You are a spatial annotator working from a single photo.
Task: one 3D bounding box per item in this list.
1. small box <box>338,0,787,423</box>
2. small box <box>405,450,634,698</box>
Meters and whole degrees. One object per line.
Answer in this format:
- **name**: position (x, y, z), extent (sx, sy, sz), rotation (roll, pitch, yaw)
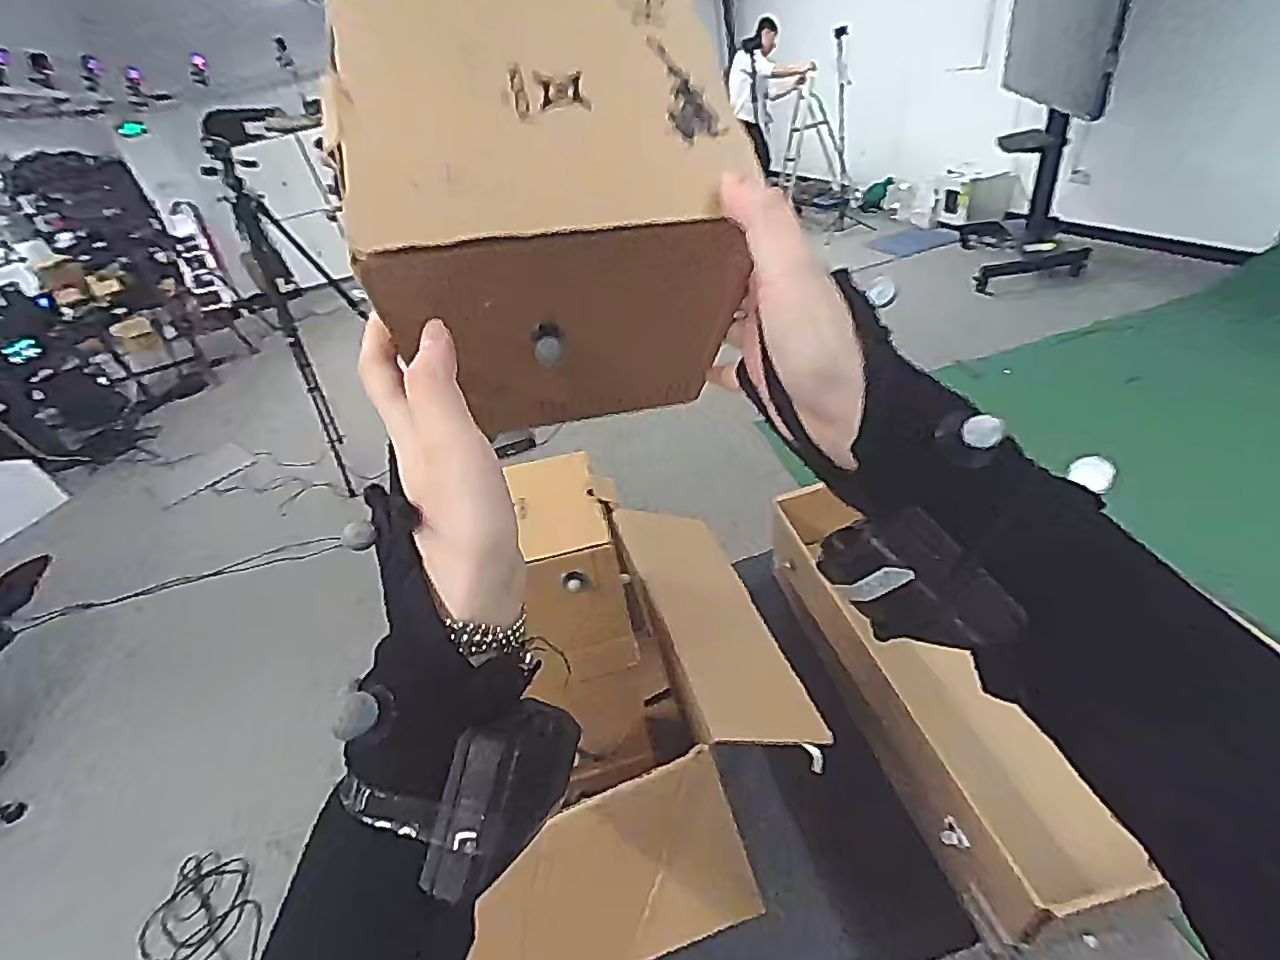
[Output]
- **small box**: position (-0.045, -0.146, 0.312), extent (0.179, 0.176, 0.168), rotation (-11, 73, -9)
- **small box**: position (-0.115, 0.095, 0.559), extent (0.179, 0.176, 0.168), rotation (-13, 34, -7)
